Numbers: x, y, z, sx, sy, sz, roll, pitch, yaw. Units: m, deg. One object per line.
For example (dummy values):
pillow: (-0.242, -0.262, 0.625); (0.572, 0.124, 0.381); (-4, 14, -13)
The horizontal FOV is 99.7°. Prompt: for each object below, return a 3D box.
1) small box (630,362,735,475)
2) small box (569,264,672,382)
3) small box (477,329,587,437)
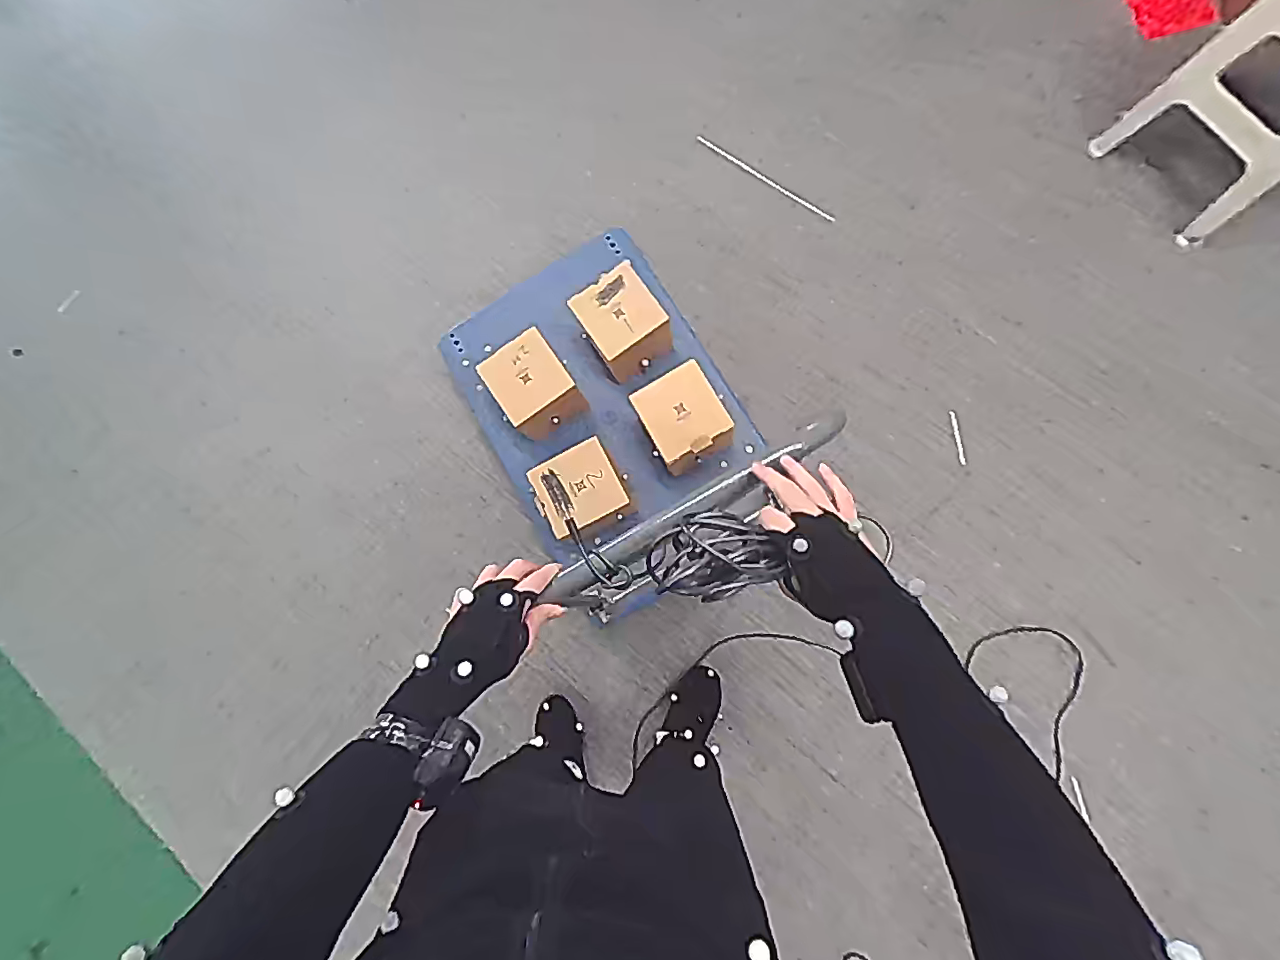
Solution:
small box: (0.096, -0.131, 1.223); (0.168, 0.176, 0.179); (-30, 80, 2)
small box: (-0.039, -0.360, 1.272); (0.168, 0.176, 0.179); (-34, 80, 2)
small box: (-0.245, -0.216, 1.277); (0.168, 0.176, 0.179); (-34, 79, 0)
